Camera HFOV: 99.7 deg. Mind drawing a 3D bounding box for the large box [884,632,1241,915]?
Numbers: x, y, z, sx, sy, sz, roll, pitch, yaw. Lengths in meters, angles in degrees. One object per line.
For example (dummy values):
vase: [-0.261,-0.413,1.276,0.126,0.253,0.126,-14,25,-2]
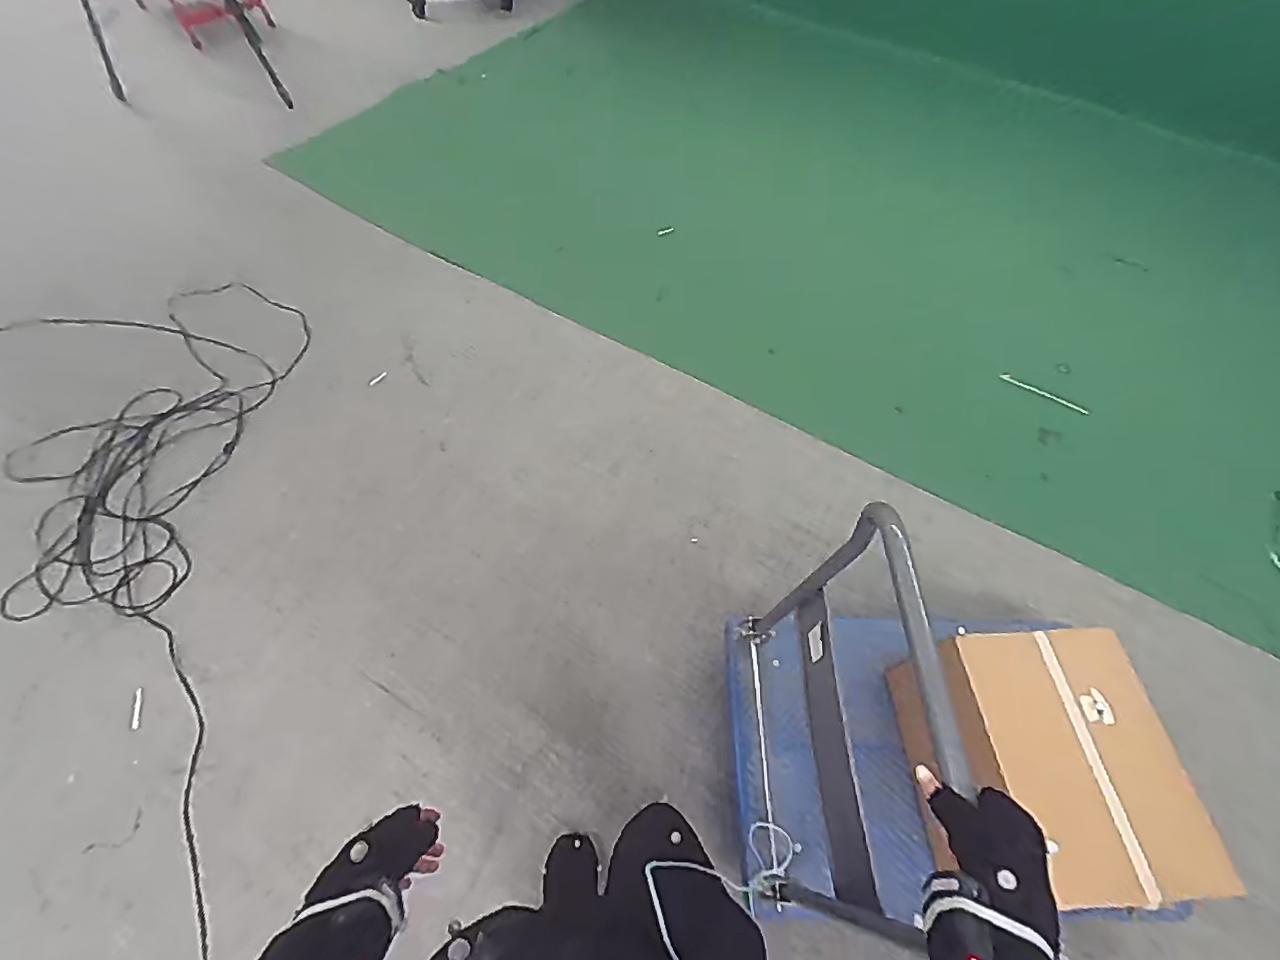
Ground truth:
large box: [0.723,0.536,1.018,0.320,0.320,0.408,-1,57,-5]
